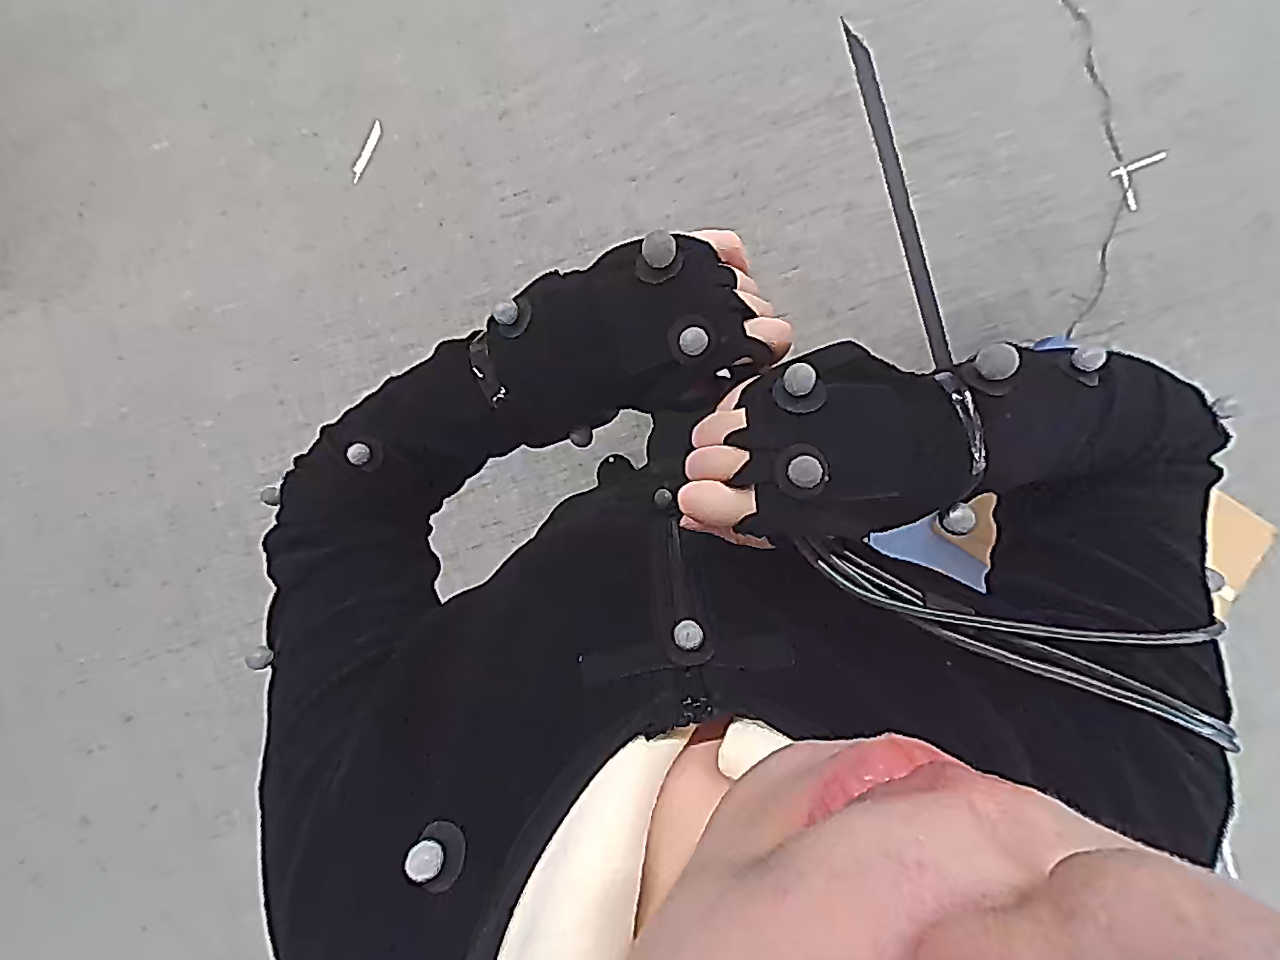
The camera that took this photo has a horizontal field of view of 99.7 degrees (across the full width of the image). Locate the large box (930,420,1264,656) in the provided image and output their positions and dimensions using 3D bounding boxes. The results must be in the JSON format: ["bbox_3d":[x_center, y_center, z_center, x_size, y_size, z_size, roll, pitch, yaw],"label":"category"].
[{"bbox_3d":[0.953,0.104,1.184,0.408,0.320,0.320,33,93,-4],"label":"large box"}]
